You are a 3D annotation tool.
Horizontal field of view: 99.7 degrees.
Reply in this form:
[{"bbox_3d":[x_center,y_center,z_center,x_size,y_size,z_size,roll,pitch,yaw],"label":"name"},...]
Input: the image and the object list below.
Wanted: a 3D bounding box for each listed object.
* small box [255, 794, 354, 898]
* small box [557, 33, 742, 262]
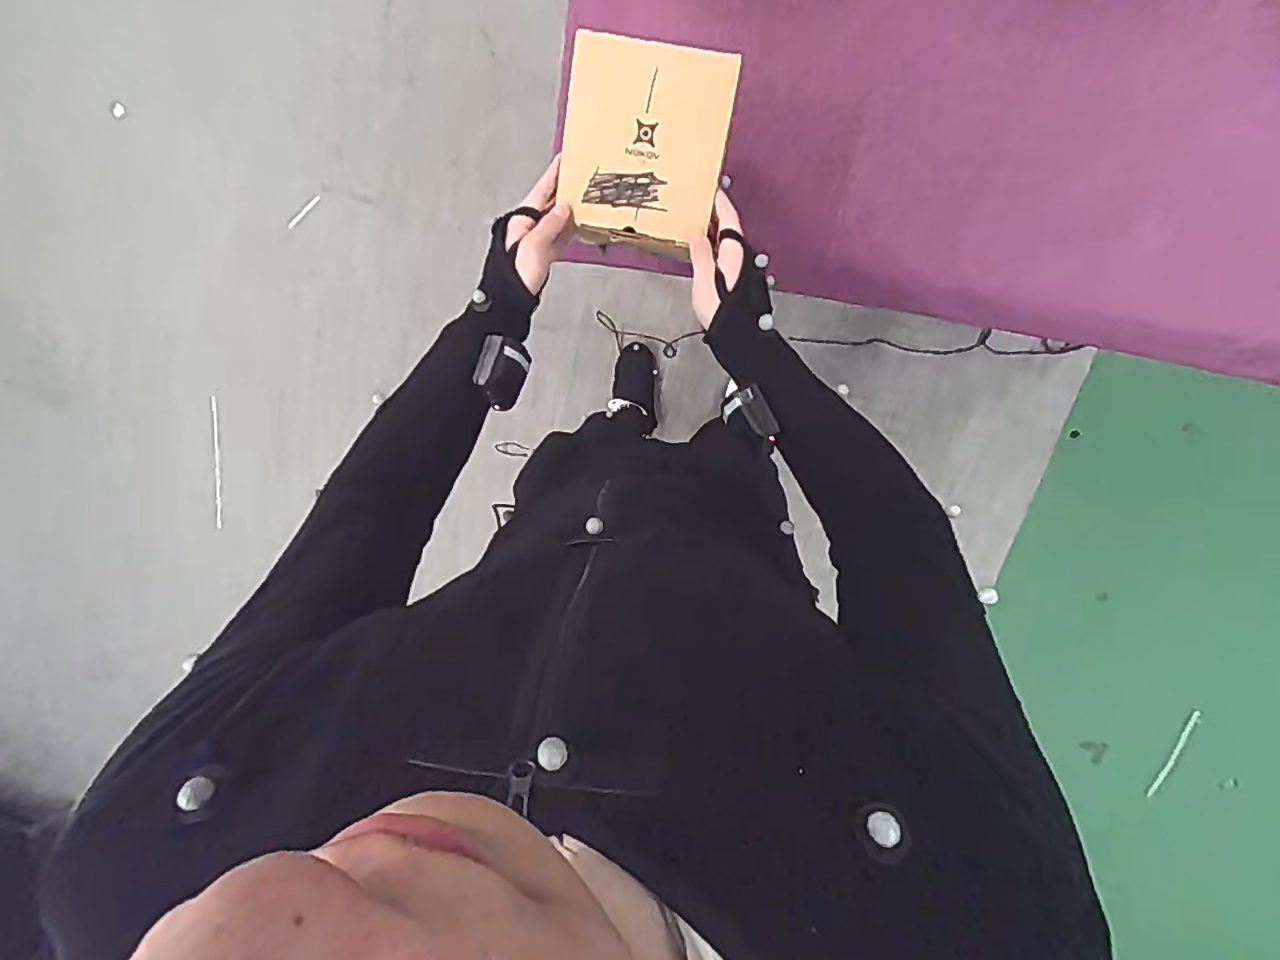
[{"bbox_3d":[-1.039,1.137,1.690,0.168,0.176,0.179,42,104,-4],"label":"small box"},{"bbox_3d":[0.014,-0.361,0.624,0.168,0.176,0.179,12,107,2],"label":"small box"}]
